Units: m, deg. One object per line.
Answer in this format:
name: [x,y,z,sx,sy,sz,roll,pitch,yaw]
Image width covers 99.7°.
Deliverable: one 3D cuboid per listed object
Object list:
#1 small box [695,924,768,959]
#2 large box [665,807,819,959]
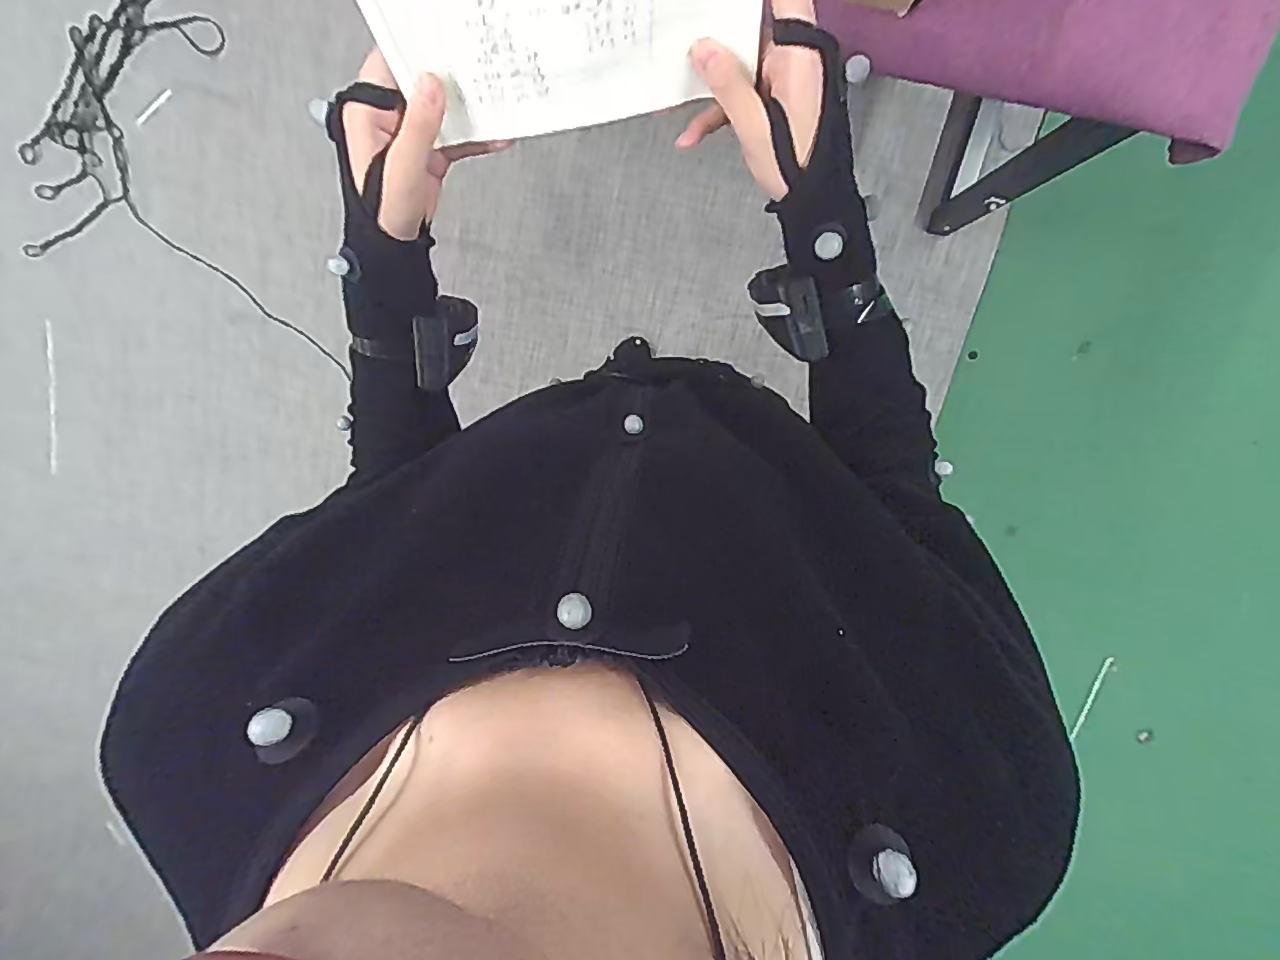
small box: [0.230,1.260,1.348,0.179,0.176,0.168,4,100,5]
large box: [0.280,1.211,1.585,0.408,0.320,0.320,0,102,4]
